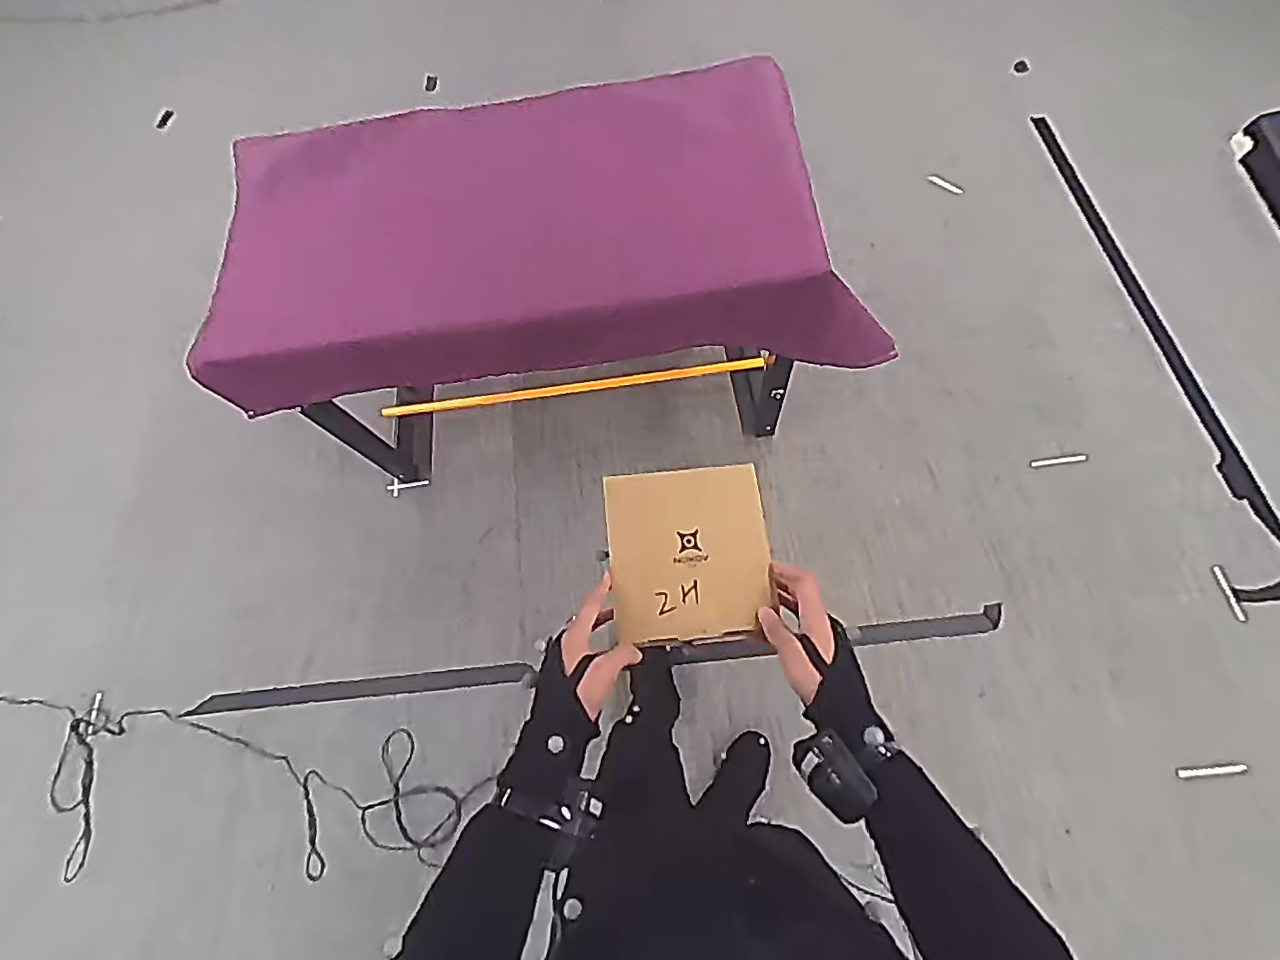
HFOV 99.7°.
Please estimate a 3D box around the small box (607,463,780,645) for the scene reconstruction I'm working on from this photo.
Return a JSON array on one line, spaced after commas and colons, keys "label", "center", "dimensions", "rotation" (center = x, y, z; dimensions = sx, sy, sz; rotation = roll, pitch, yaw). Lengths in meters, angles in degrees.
[{"label": "small box", "center": [0.050, 0.095, 0.634], "dimensions": [0.168, 0.176, 0.179], "rotation": [-5, 72, -2]}]
